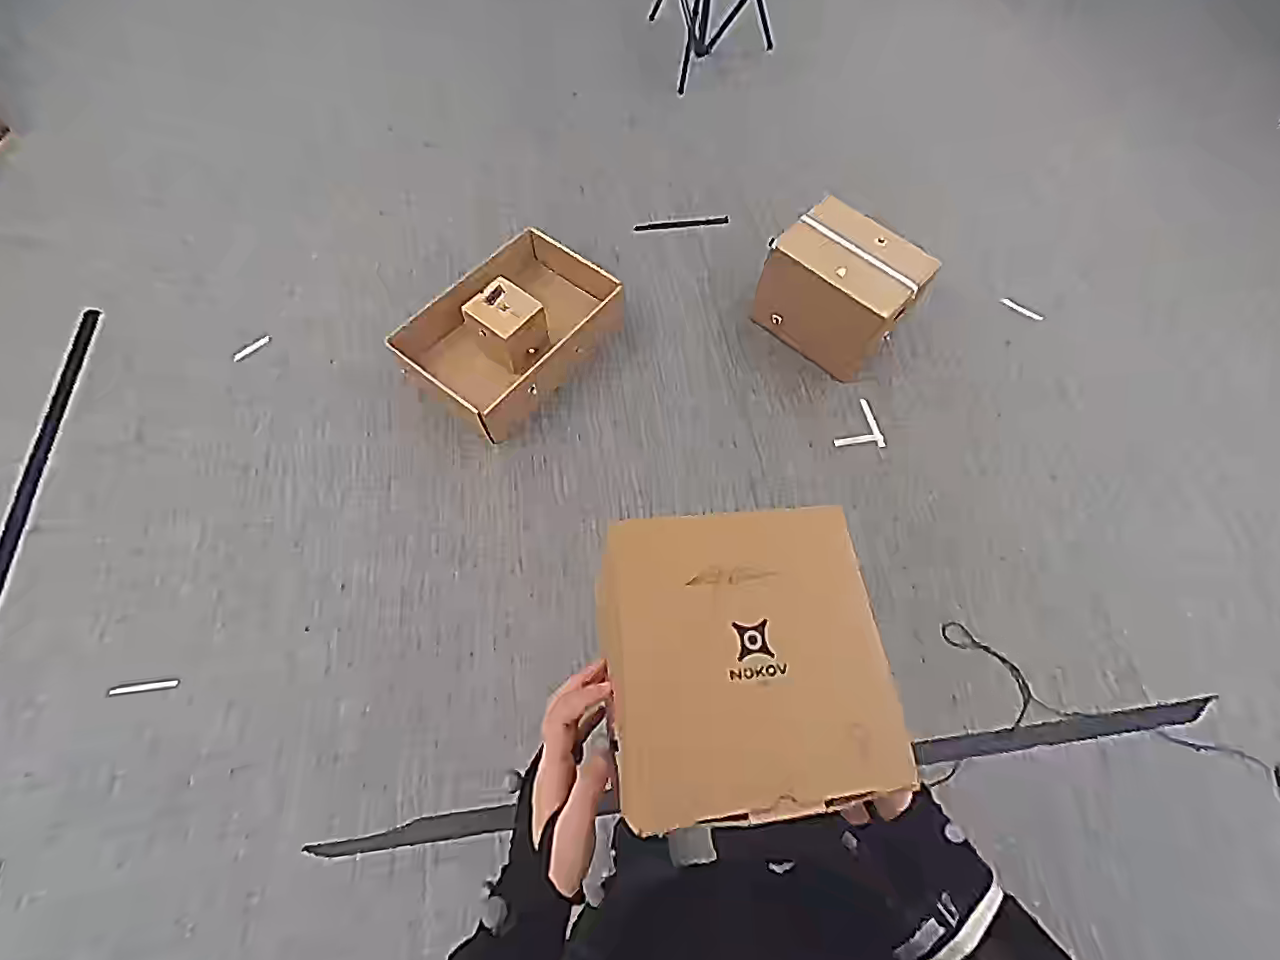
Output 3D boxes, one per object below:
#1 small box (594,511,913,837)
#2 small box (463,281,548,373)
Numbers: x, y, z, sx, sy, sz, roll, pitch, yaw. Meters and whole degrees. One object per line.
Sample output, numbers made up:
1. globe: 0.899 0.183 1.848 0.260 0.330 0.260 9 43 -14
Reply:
1. small box: 0.058 0.138 0.403 0.168 0.176 0.179 -4 65 -11
2. small box: -0.402 -0.459 1.643 0.179 0.176 0.168 36 69 13
